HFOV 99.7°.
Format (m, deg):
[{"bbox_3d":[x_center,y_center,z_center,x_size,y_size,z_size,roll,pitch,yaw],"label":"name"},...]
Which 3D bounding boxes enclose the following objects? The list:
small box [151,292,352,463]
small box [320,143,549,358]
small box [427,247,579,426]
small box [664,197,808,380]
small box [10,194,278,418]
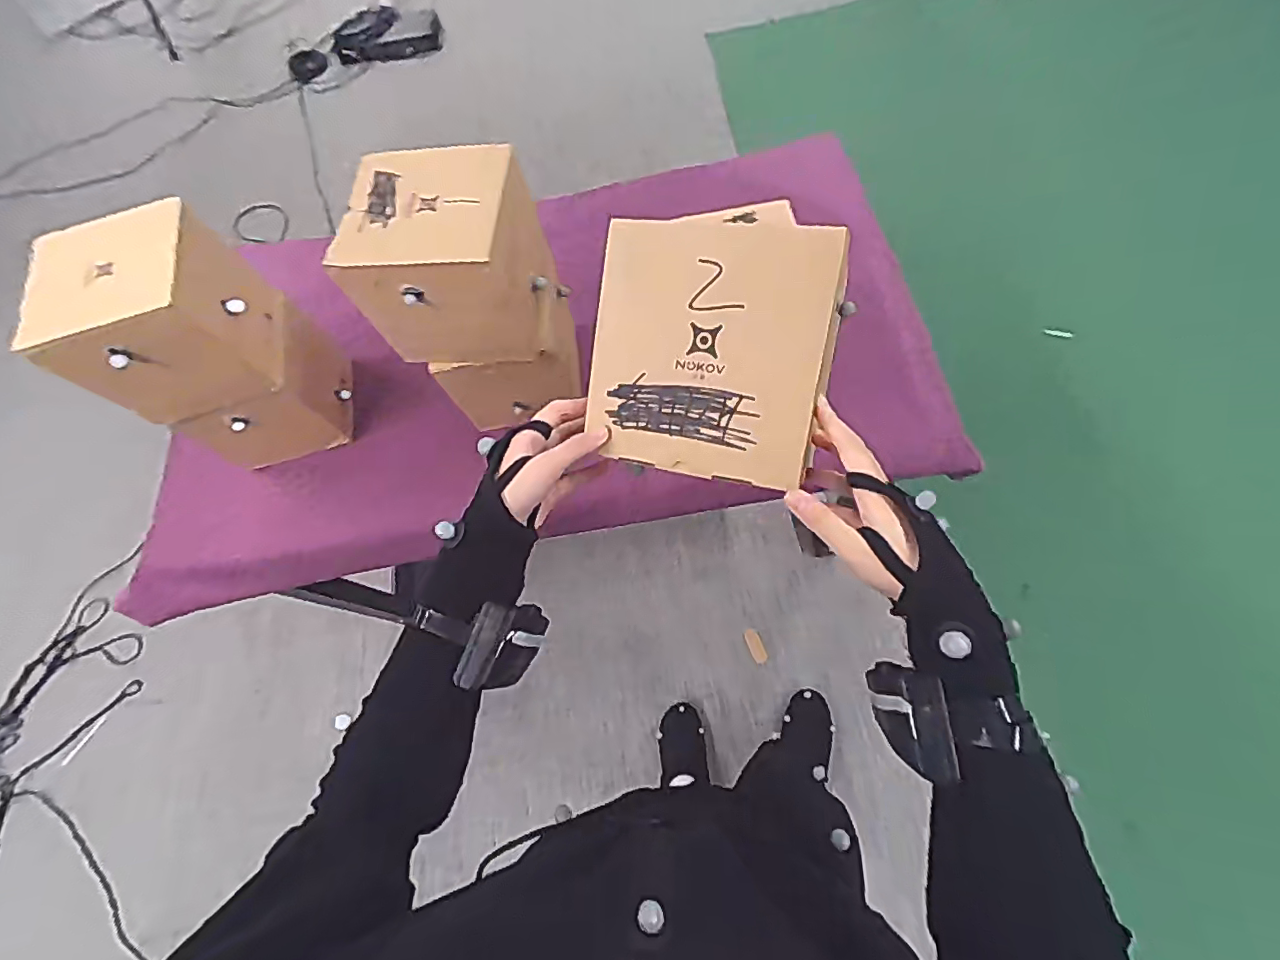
[{"bbox_3d":[-0.564,-0.143,0.809,0.179,0.176,0.168,-15,68,1],"label":"small box"},{"bbox_3d":[-0.222,-0.258,0.633,0.179,0.176,0.168,2,68,7],"label":"small box"},{"bbox_3d":[-0.191,-0.202,0.785,0.168,0.176,0.179,-10,68,4],"label":"small box"},{"bbox_3d":[0.129,-0.256,0.766,0.168,0.176,0.179,-8,67,4],"label":"small box"},{"bbox_3d":[-0.577,-0.200,0.658,0.179,0.176,0.168,-17,68,1],"label":"small box"}]
